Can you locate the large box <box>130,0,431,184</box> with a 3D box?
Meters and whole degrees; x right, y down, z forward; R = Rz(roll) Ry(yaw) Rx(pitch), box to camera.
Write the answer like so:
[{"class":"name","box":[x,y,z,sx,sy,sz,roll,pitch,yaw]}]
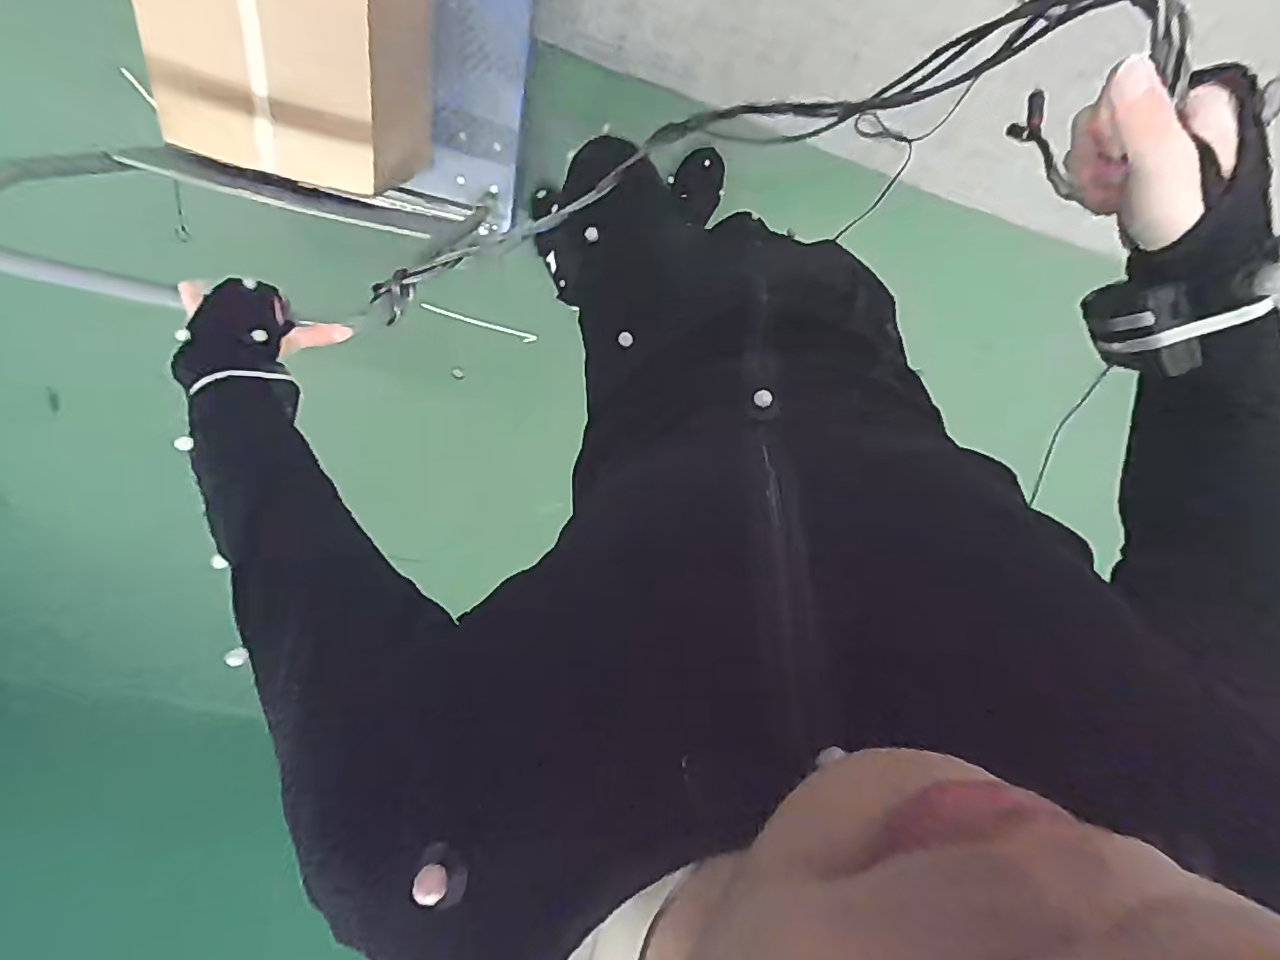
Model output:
[{"class":"large box","box":[-0.531,-0.743,0.847,0.320,0.320,0.408,13,125,-11]}]
